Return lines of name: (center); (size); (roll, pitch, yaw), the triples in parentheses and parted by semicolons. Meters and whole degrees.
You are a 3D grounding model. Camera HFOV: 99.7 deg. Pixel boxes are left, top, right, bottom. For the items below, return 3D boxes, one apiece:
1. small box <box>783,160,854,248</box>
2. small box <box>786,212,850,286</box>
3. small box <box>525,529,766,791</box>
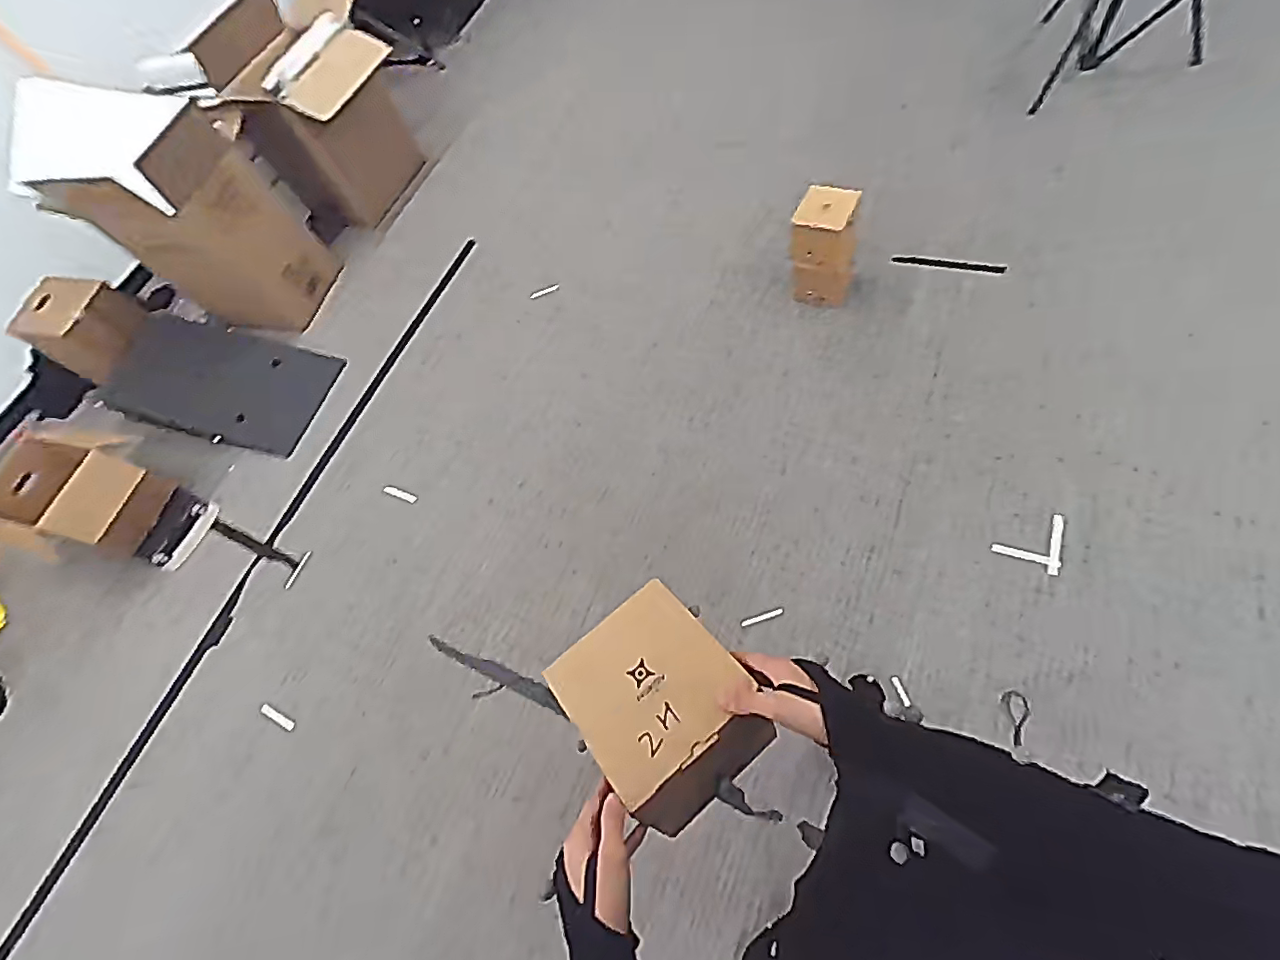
small box: (0.563, -0.879, 1.724); (0.168, 0.176, 0.179); (22, 73, 23)
small box: (0.607, -0.804, 1.861); (0.168, 0.176, 0.179); (19, 71, 22)
small box: (0.013, 0.192, 0.574); (0.168, 0.176, 0.179); (-37, 50, -12)
